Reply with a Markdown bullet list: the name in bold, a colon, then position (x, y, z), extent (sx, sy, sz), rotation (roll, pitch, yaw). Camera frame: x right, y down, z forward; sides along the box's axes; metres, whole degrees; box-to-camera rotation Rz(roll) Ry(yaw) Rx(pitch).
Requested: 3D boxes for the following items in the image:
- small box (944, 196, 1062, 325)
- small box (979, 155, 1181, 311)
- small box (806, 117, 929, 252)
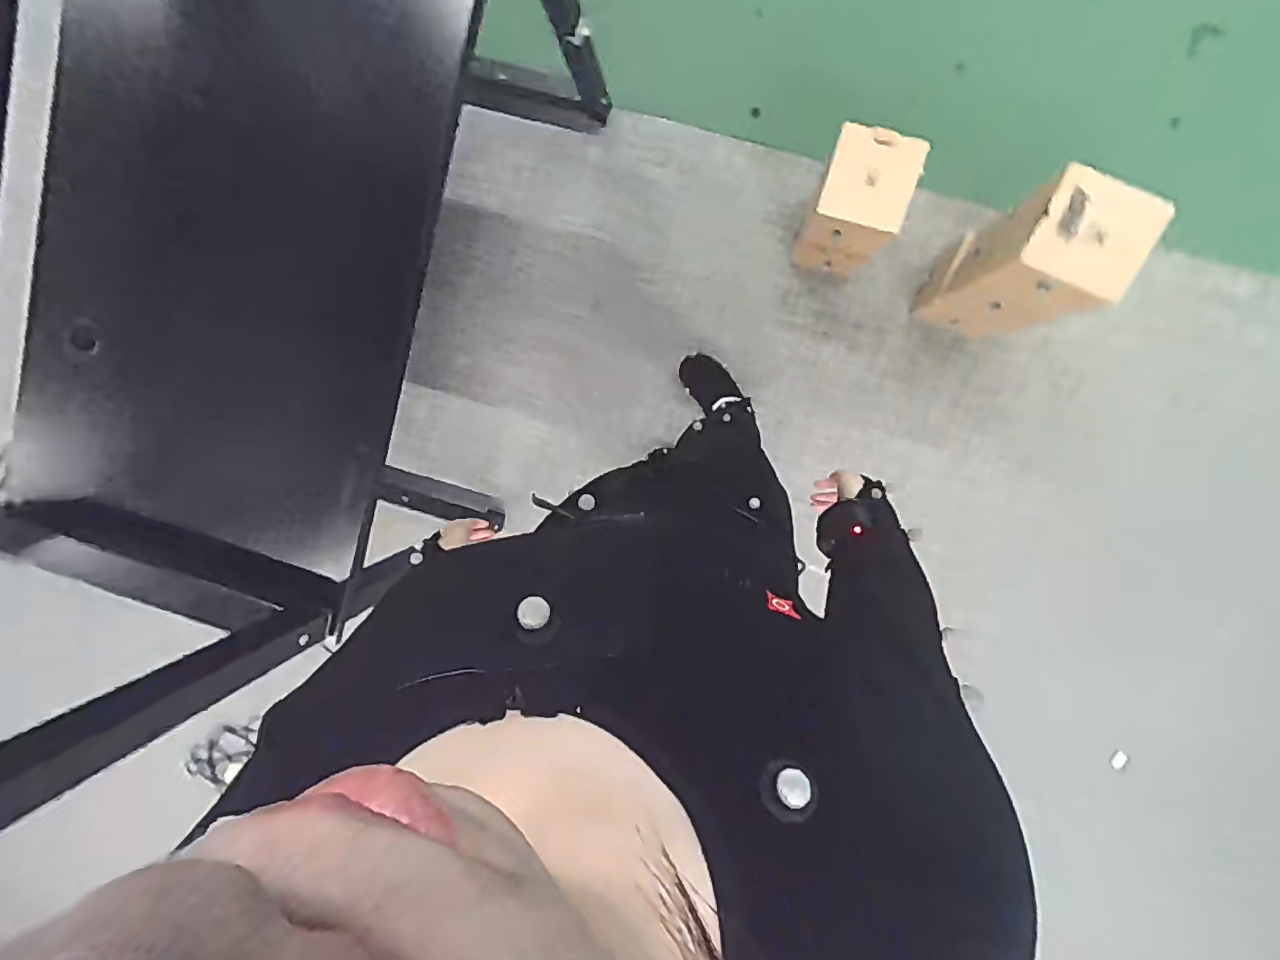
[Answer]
- **small box**: position (0.758, -0.427, 1.087), extent (0.179, 0.176, 0.168), rotation (28, 101, 3)
- **small box**: position (0.731, -0.407, 0.927), extent (0.179, 0.176, 0.168), rotation (25, 100, 3)
- **small box**: position (0.451, -0.591, 1.106), extent (0.168, 0.176, 0.179), rotation (17, 98, 5)
